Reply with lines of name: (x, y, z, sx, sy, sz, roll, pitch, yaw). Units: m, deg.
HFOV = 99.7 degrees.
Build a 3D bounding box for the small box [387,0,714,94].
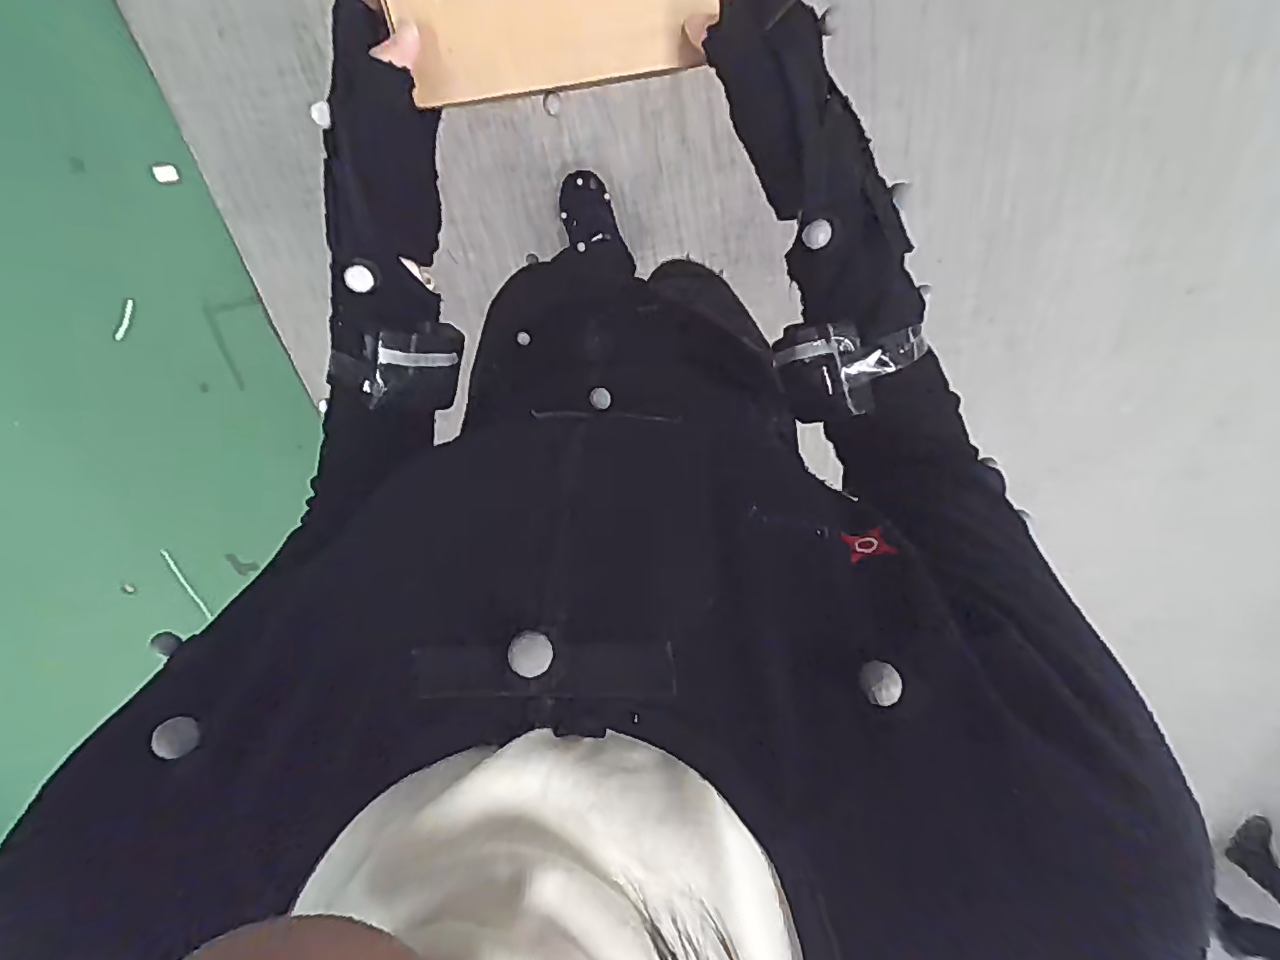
small box: (-0.056, -0.342, 0.324, 0.179, 0.176, 0.168, -7, 126, 2)
